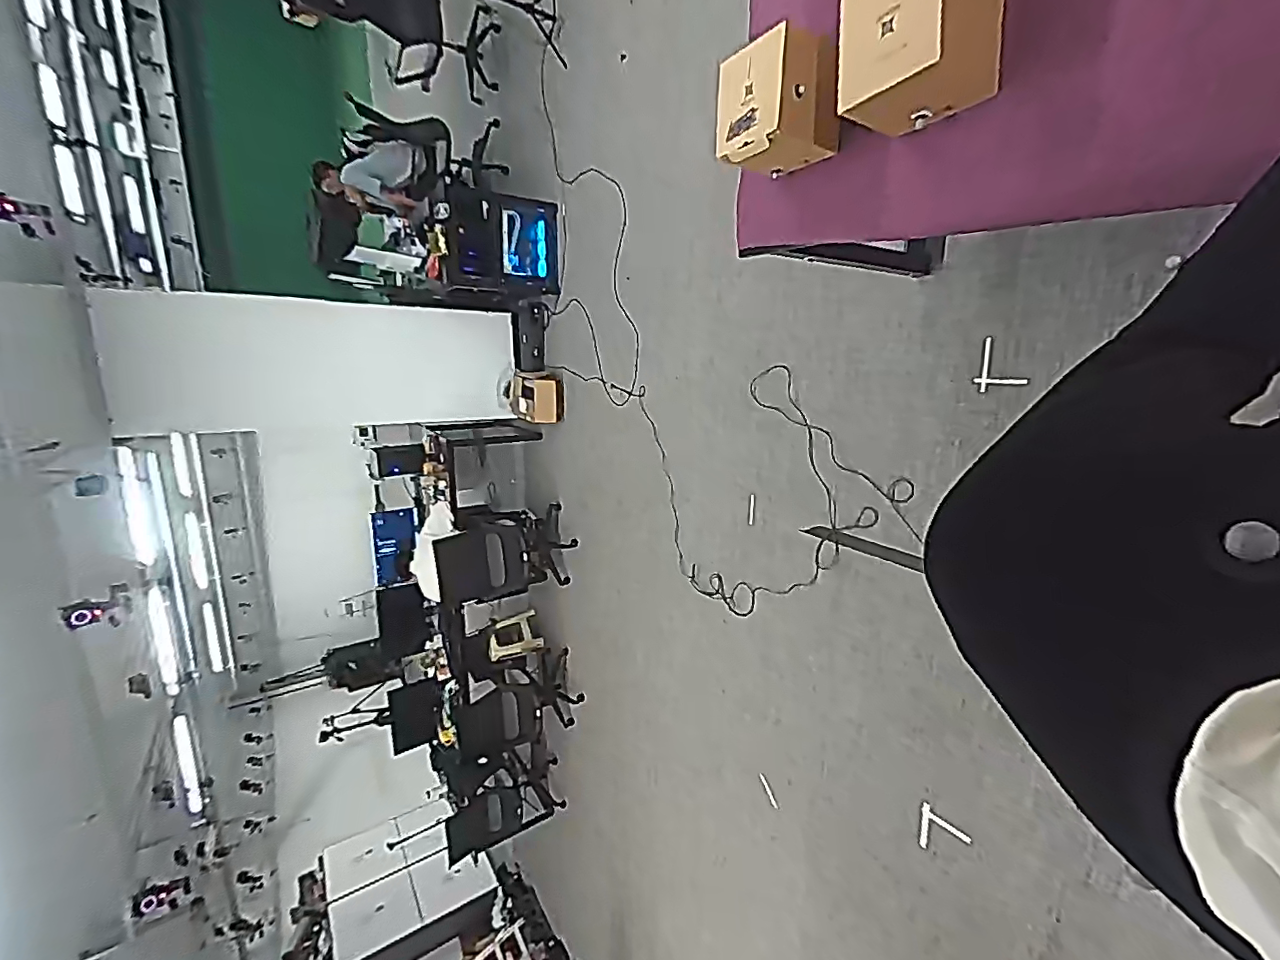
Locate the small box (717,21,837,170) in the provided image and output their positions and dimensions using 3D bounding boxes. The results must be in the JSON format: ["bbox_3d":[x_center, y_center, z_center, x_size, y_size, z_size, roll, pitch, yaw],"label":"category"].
[{"bbox_3d":[0.268,-0.723,1.045,0.168,0.176,0.179,16,108,54],"label":"small box"}]

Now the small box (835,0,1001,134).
[{"bbox_3d":[0.423,-0.670,0.825,0.168,0.176,0.179,12,106,56],"label":"small box"}]
